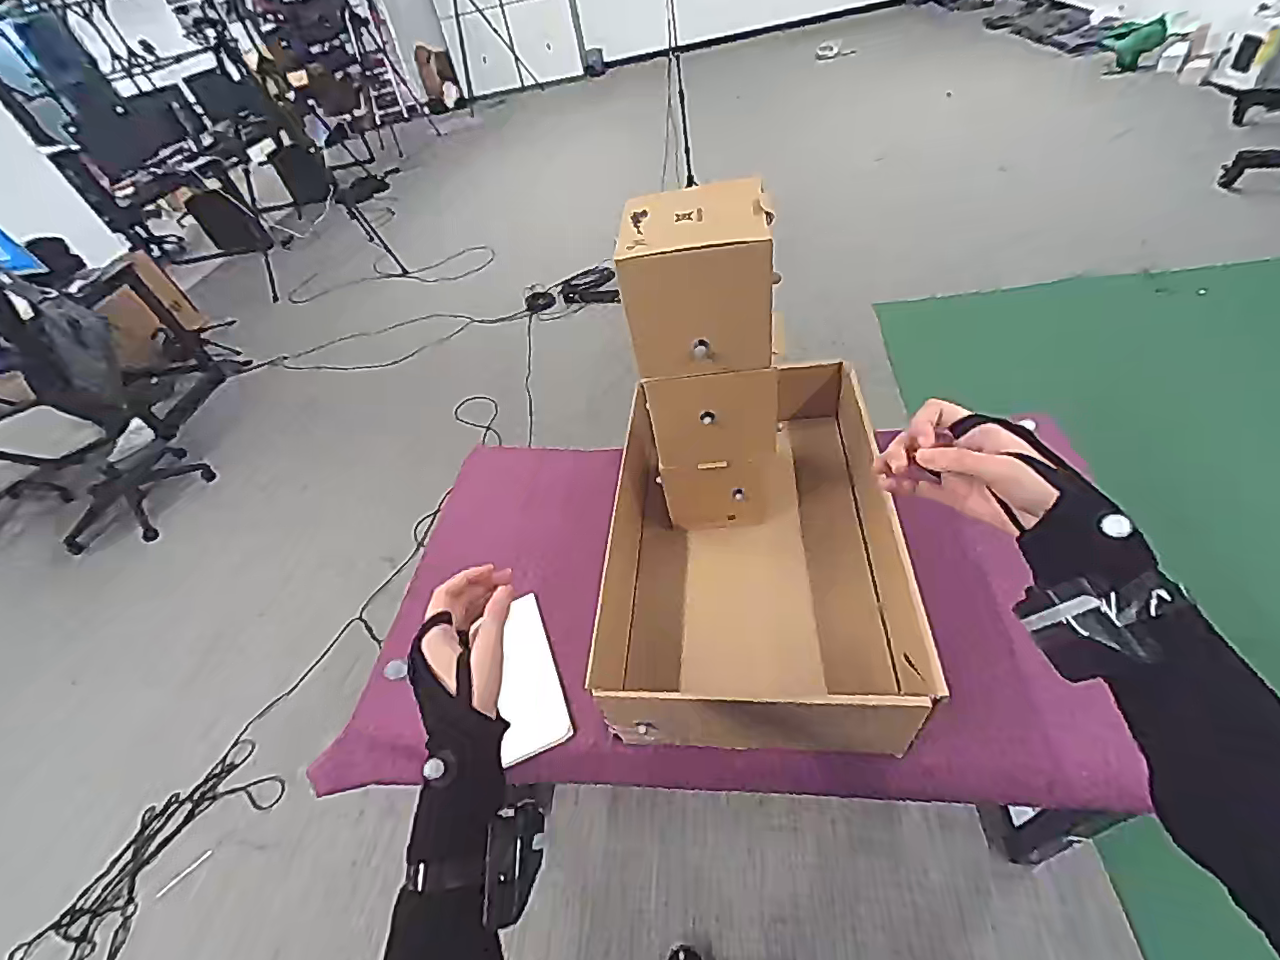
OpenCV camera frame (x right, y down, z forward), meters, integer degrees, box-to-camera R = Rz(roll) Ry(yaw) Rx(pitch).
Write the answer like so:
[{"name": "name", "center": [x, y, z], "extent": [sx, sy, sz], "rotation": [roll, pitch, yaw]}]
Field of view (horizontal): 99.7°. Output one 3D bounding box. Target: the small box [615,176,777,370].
[{"name": "small box", "center": [0.076, -0.258, 0.690], "extent": [0.179, 0.176, 0.168], "rotation": [-2, 48, 10]}]

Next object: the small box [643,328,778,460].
[{"name": "small box", "center": [0.106, -0.146, 0.807], "extent": [0.179, 0.176, 0.168], "rotation": [-5, 47, 9]}]
